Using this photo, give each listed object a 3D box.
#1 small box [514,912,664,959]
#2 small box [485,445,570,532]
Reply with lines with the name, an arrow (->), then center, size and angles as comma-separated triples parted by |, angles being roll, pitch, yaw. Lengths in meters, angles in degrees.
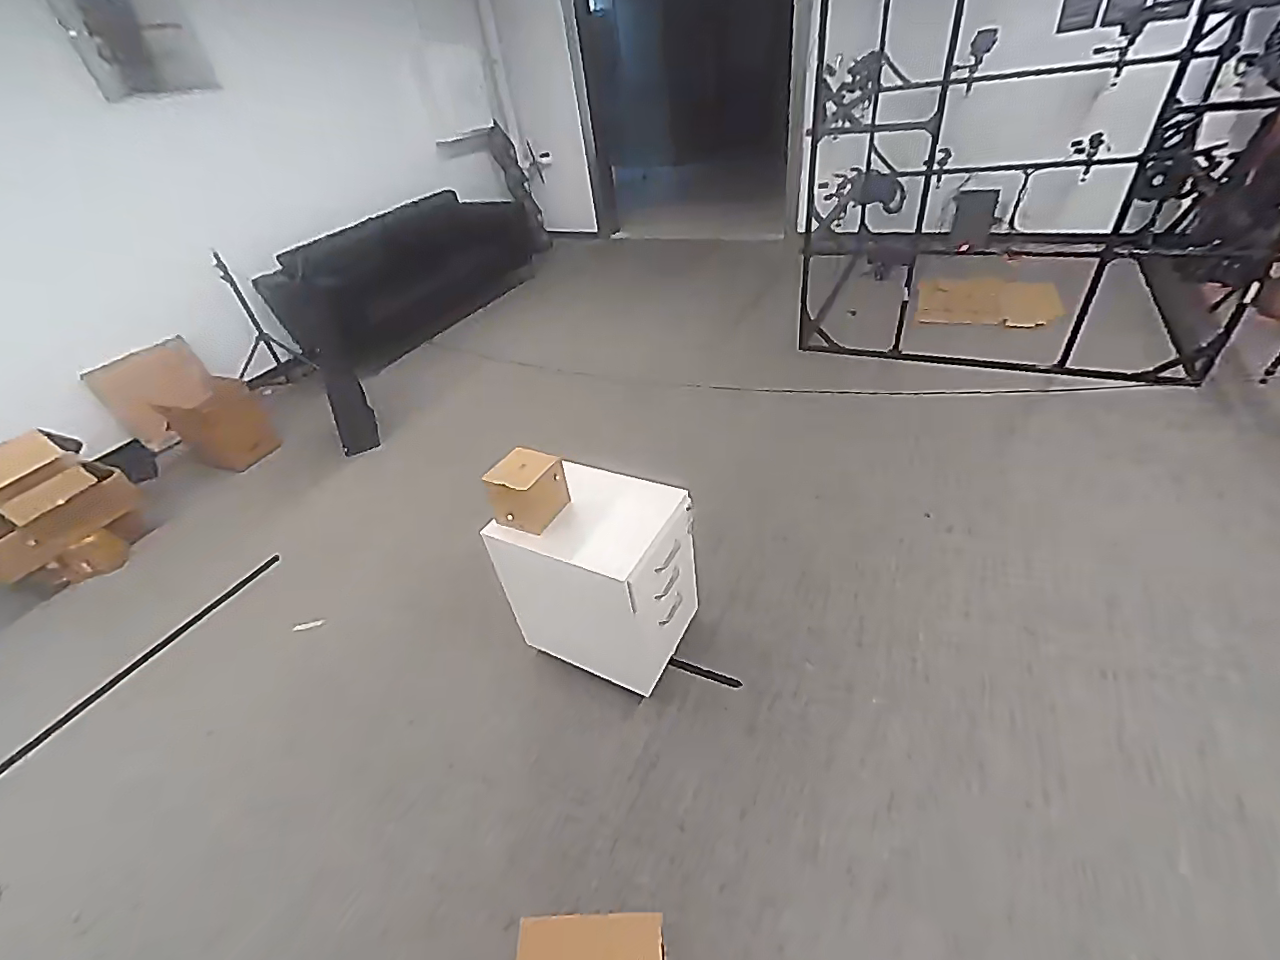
small box -> -0.056, 0.641, 0.652 | 0.179, 0.176, 0.168 | -3, 42, 0
small box -> -0.325, 0.023, 1.604 | 0.168, 0.176, 0.179 | 13, 43, 26
